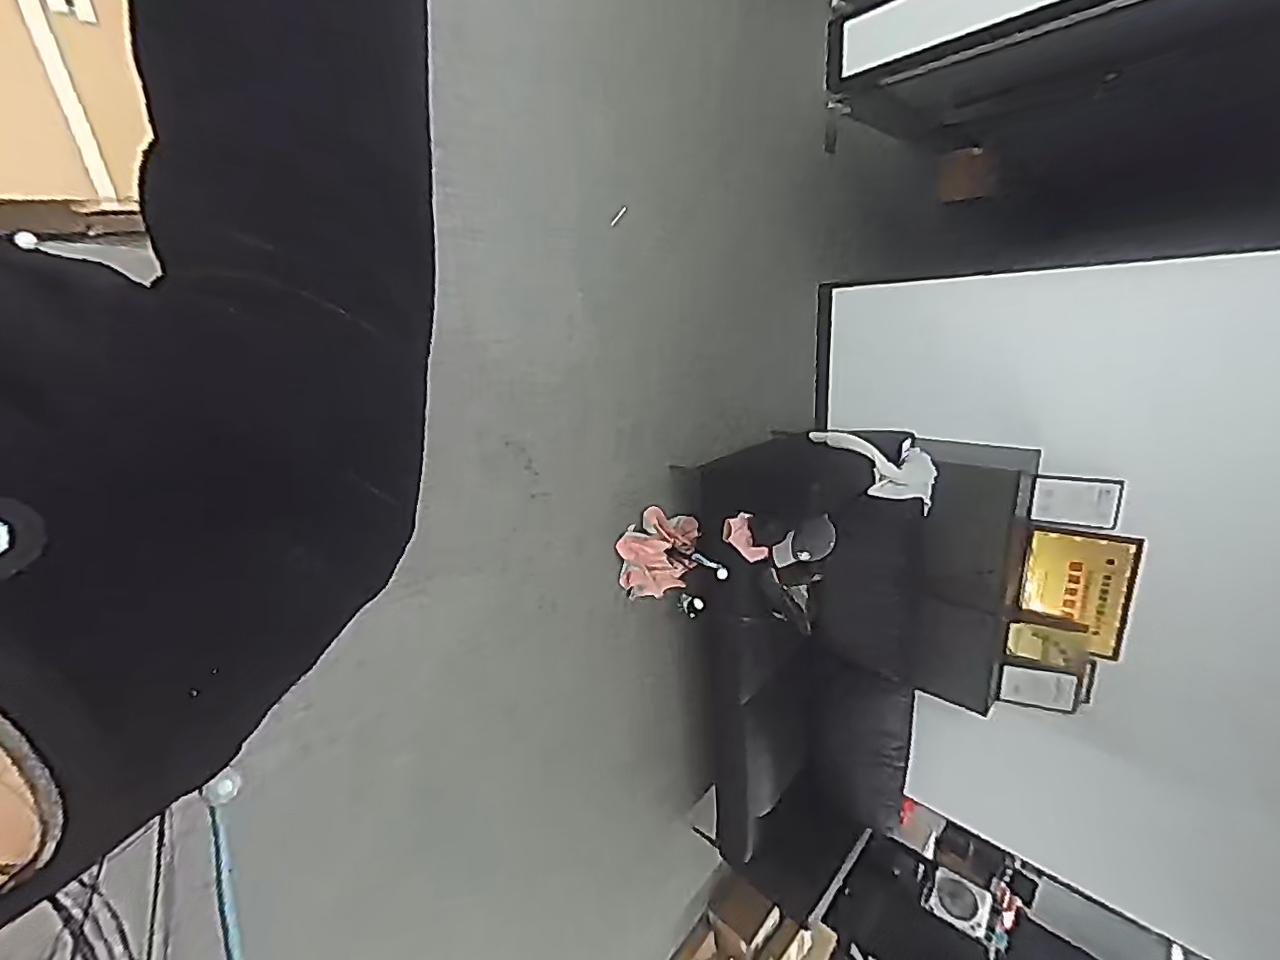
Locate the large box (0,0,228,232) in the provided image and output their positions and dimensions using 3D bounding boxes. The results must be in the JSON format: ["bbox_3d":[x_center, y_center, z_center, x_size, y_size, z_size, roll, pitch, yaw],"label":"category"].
[{"bbox_3d":[-0.952,-0.654,0.886,0.320,0.320,0.408,-25,115,-40],"label":"large box"}]
